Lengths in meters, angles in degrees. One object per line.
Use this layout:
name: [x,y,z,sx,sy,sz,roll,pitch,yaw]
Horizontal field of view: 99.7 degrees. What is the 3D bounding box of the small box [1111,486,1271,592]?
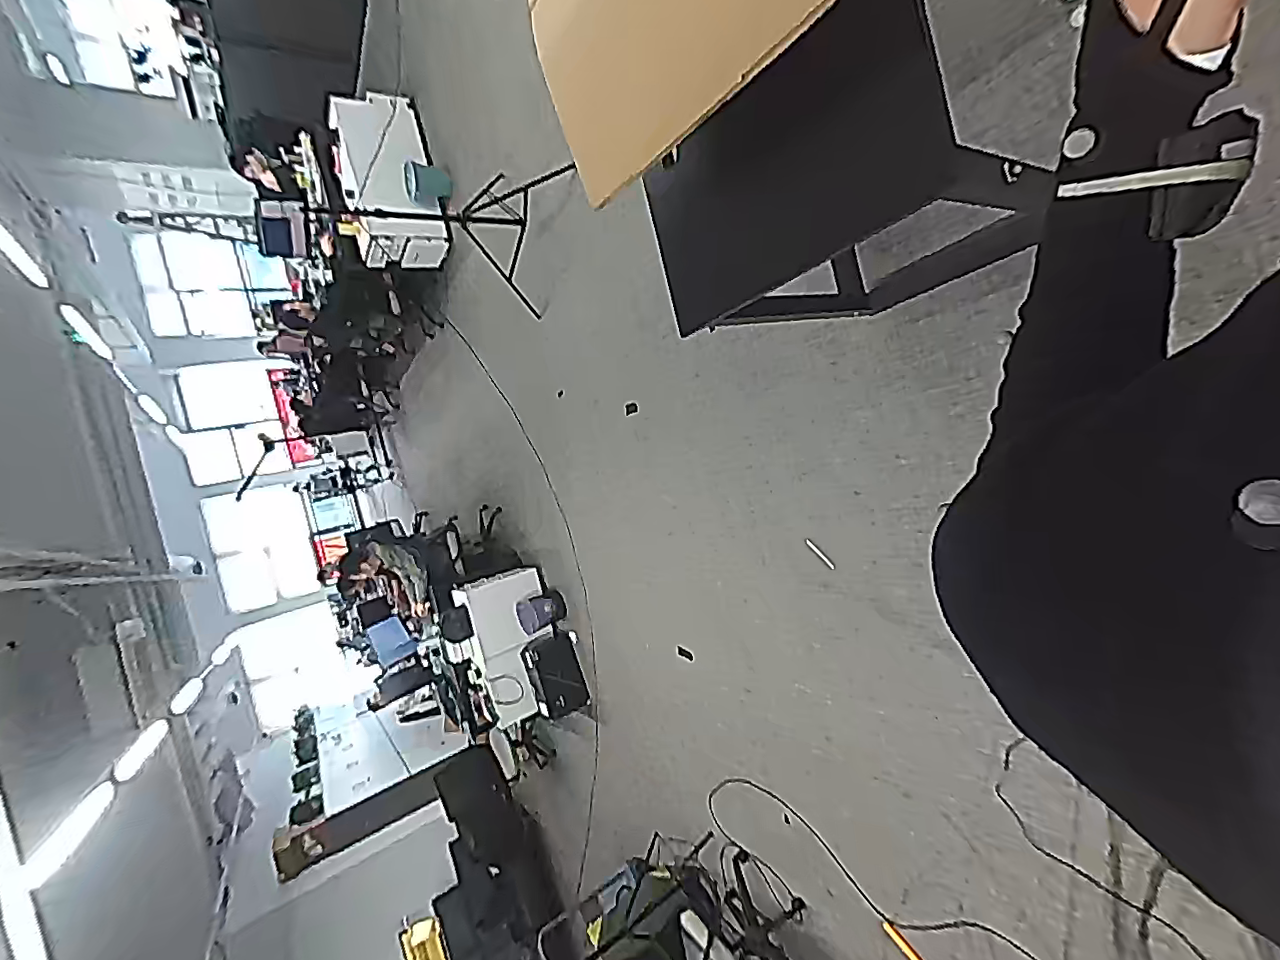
small box: [1.102,0.120,1.083,0.179,0.176,0.168,-20,86,56]
